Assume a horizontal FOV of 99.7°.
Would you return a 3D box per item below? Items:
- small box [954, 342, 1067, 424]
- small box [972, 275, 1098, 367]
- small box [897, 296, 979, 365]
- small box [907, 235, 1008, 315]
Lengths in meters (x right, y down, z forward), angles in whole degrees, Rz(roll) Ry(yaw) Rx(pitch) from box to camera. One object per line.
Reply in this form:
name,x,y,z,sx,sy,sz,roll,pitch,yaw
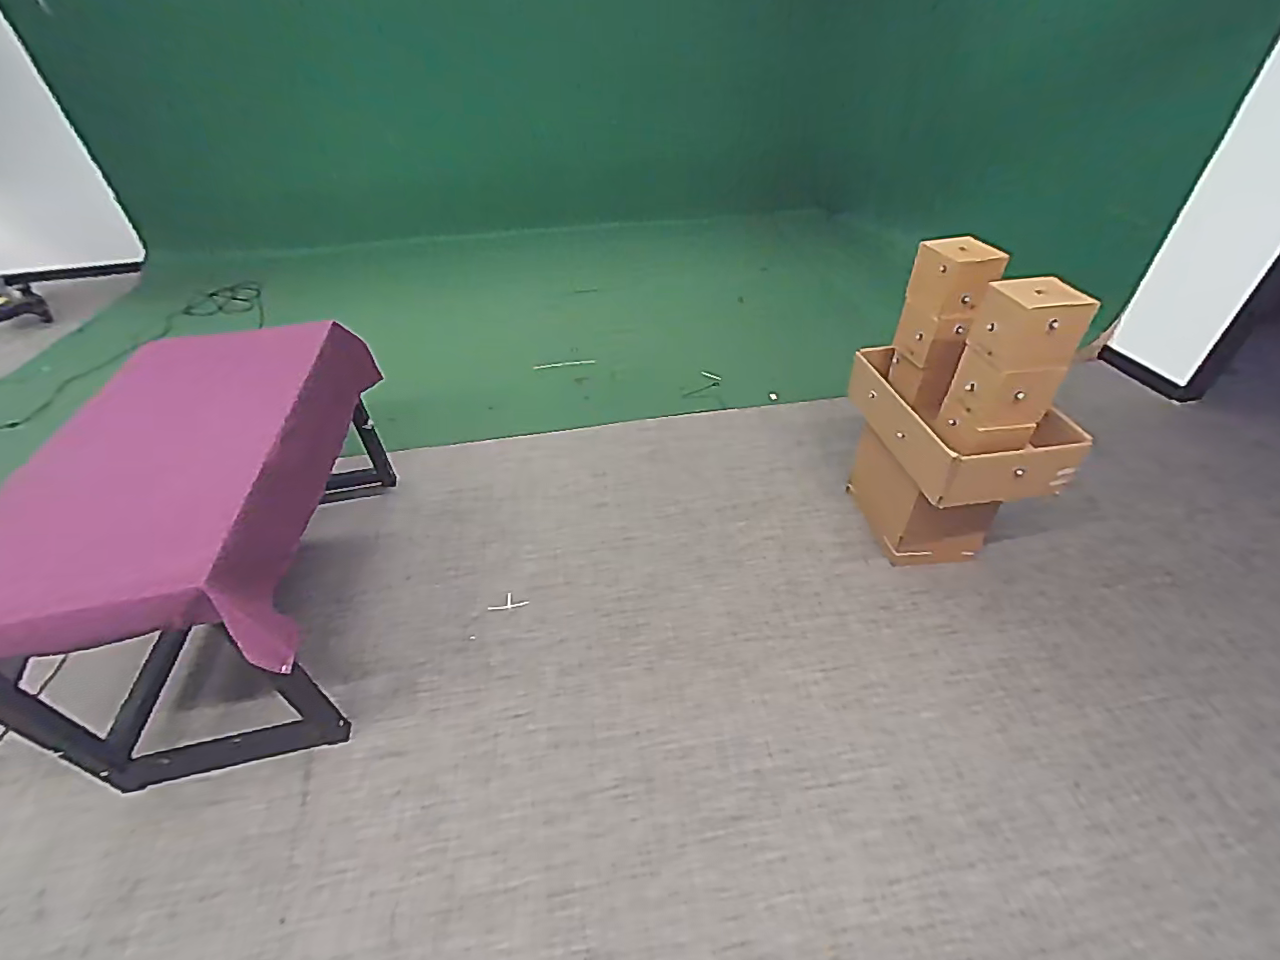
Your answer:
small box,0.978,-0.265,1.454,0.179,0.176,0.168,-6,42,-2
small box,0.968,-0.394,1.350,0.179,0.176,0.168,-5,42,-2
small box,0.937,-0.475,1.698,0.179,0.176,0.168,-9,42,-7
small box,0.928,-0.606,1.601,0.168,0.176,0.179,-10,43,-8
